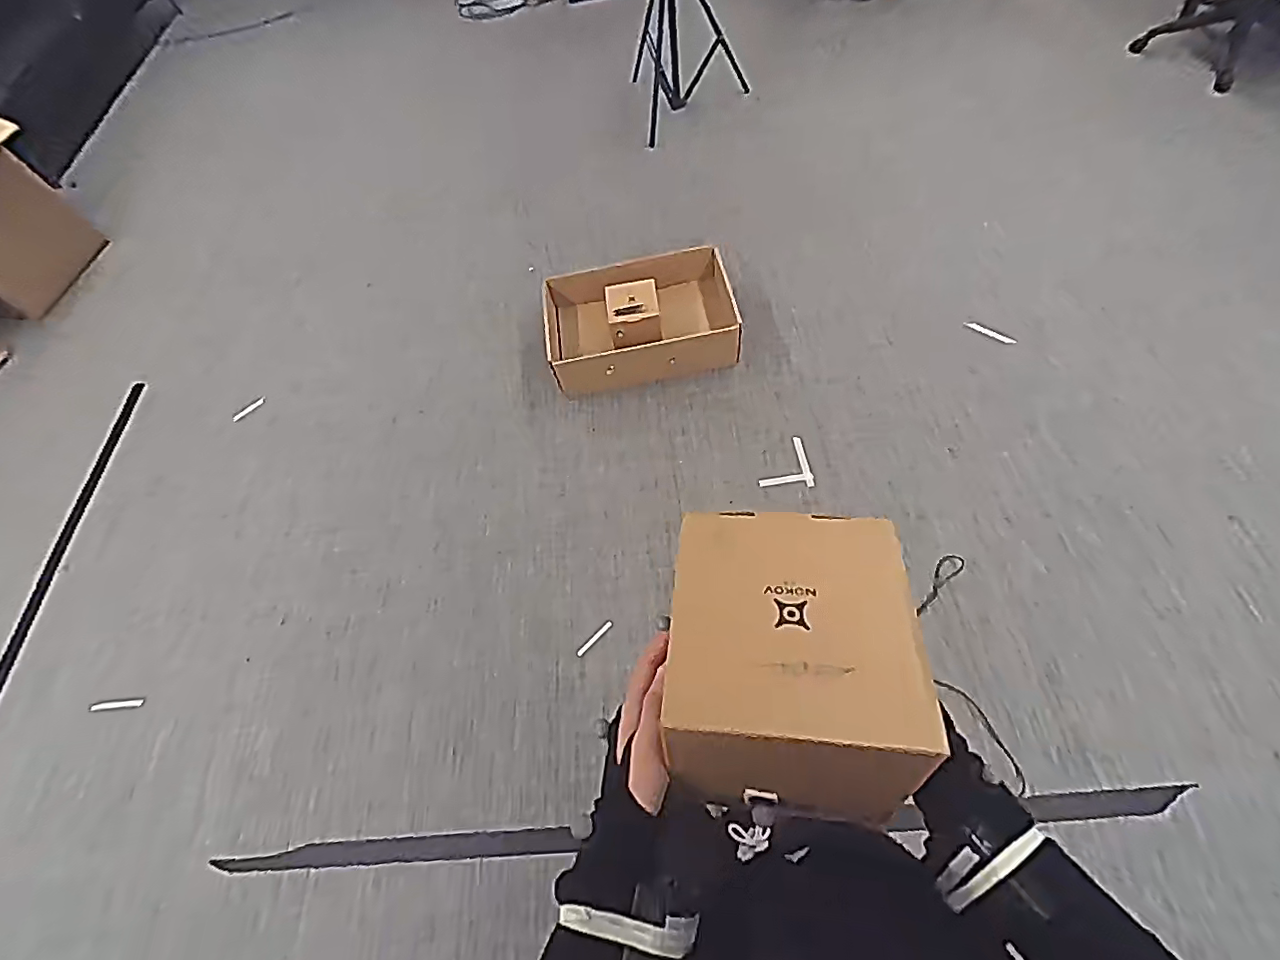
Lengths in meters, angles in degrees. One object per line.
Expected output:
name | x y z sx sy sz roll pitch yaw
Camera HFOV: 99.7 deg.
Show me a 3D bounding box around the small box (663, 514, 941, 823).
small box | 0.111 0.149 0.437 0.168 0.176 0.179 1 46 9
